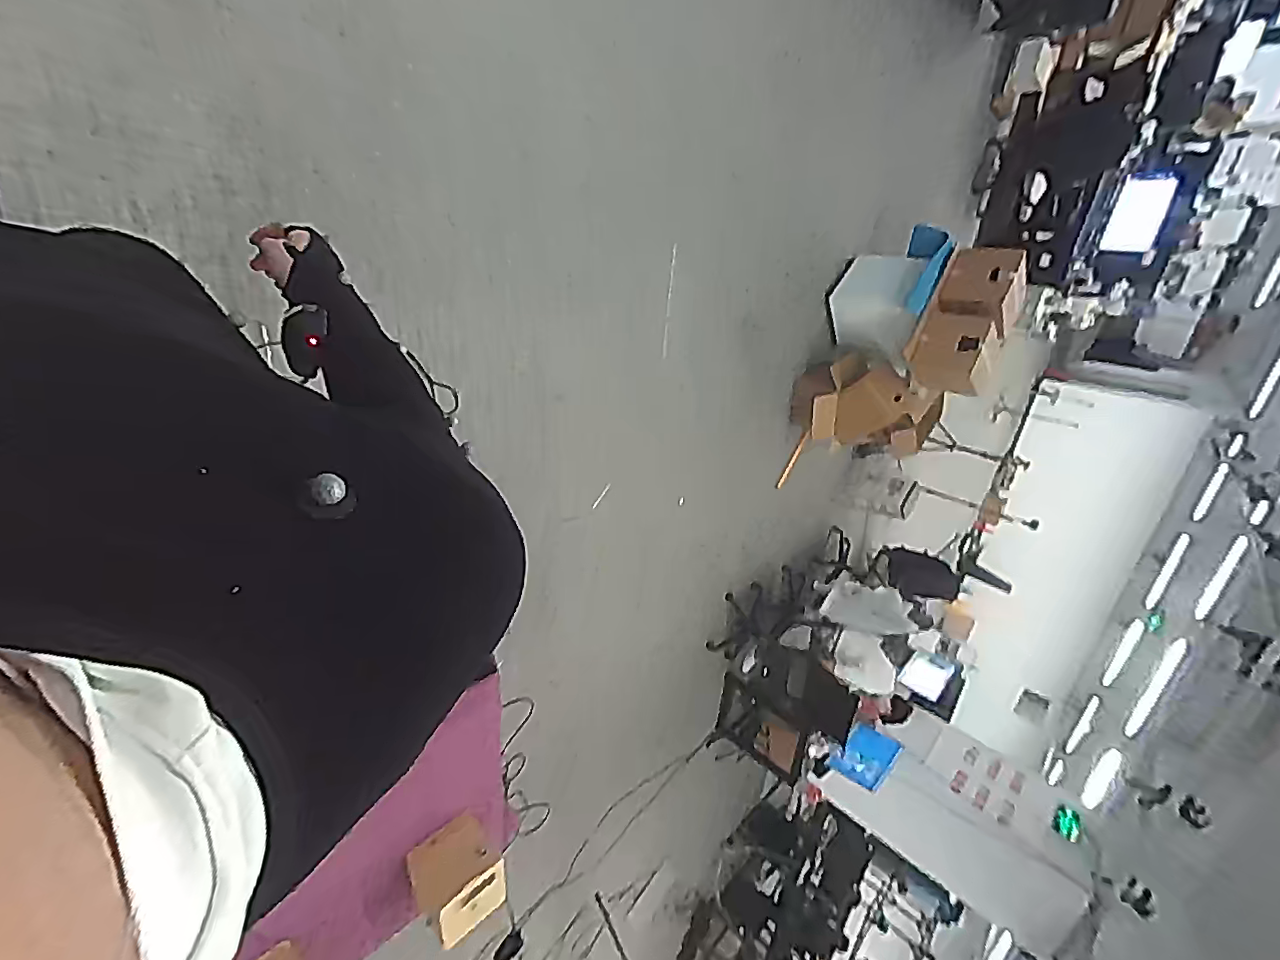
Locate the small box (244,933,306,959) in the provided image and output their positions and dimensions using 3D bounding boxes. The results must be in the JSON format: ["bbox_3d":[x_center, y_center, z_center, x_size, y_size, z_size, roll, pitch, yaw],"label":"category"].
[{"bbox_3d":[-0.746,1.071,1.076,0.168,0.176,0.179,-17,121,-44],"label":"small box"}]
